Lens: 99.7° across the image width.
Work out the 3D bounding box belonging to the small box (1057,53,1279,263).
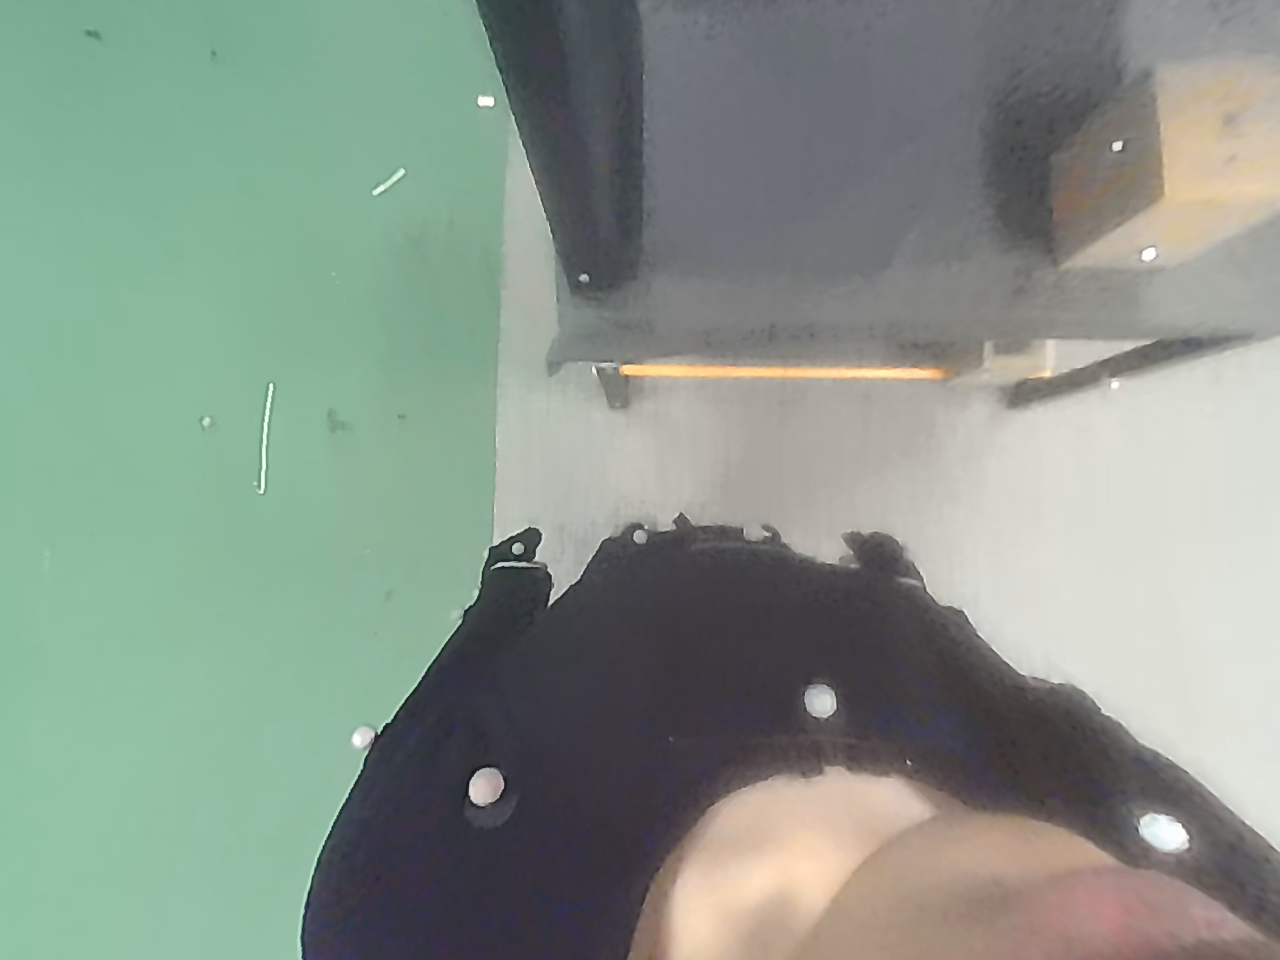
[{"bbox_3d":[0.689,-0.409,0.708,0.168,0.176,0.179,0,84,2],"label":"small box"}]
